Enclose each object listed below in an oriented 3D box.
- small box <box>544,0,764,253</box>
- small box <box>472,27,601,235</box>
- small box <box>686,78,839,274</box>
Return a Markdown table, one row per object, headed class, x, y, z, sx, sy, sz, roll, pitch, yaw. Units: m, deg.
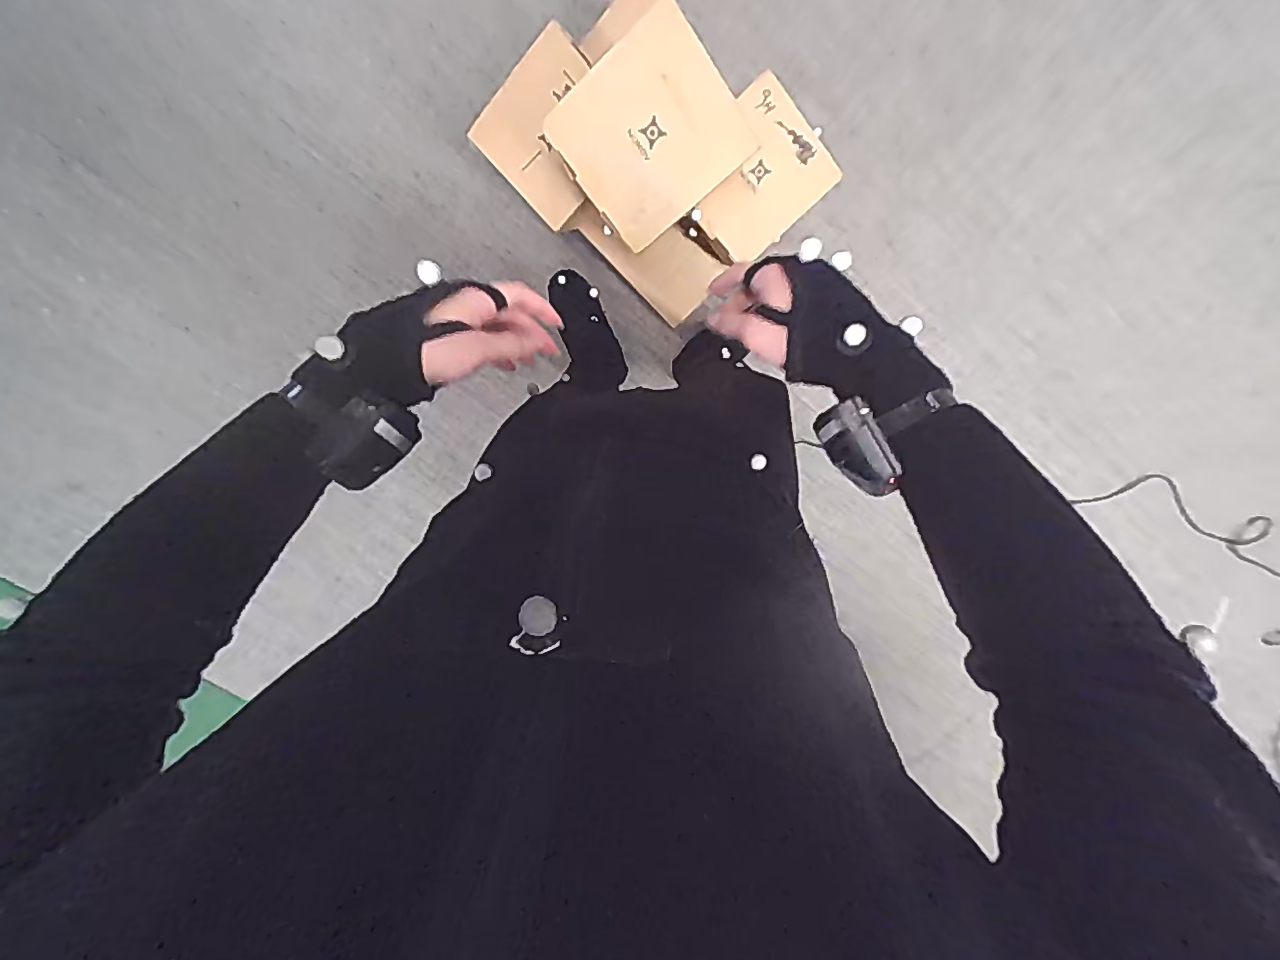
| class | x | y | z | sx | sy | sz | roll | pitch | yaw |
| --- | --- | --- | --- | --- | --- | --- | --- | --- | --- |
| small box | 0.017 | -0.391 | 0.637 | 0.179 | 0.176 | 0.168 | -37 | 109 | 15 |
| small box | -0.103 | -0.483 | 0.780 | 0.179 | 0.176 | 0.168 | -38 | 107 | 19 |
| small box | 0.154 | -0.428 | 0.795 | 0.179 | 0.176 | 0.168 | -40 | 106 | 17 |
